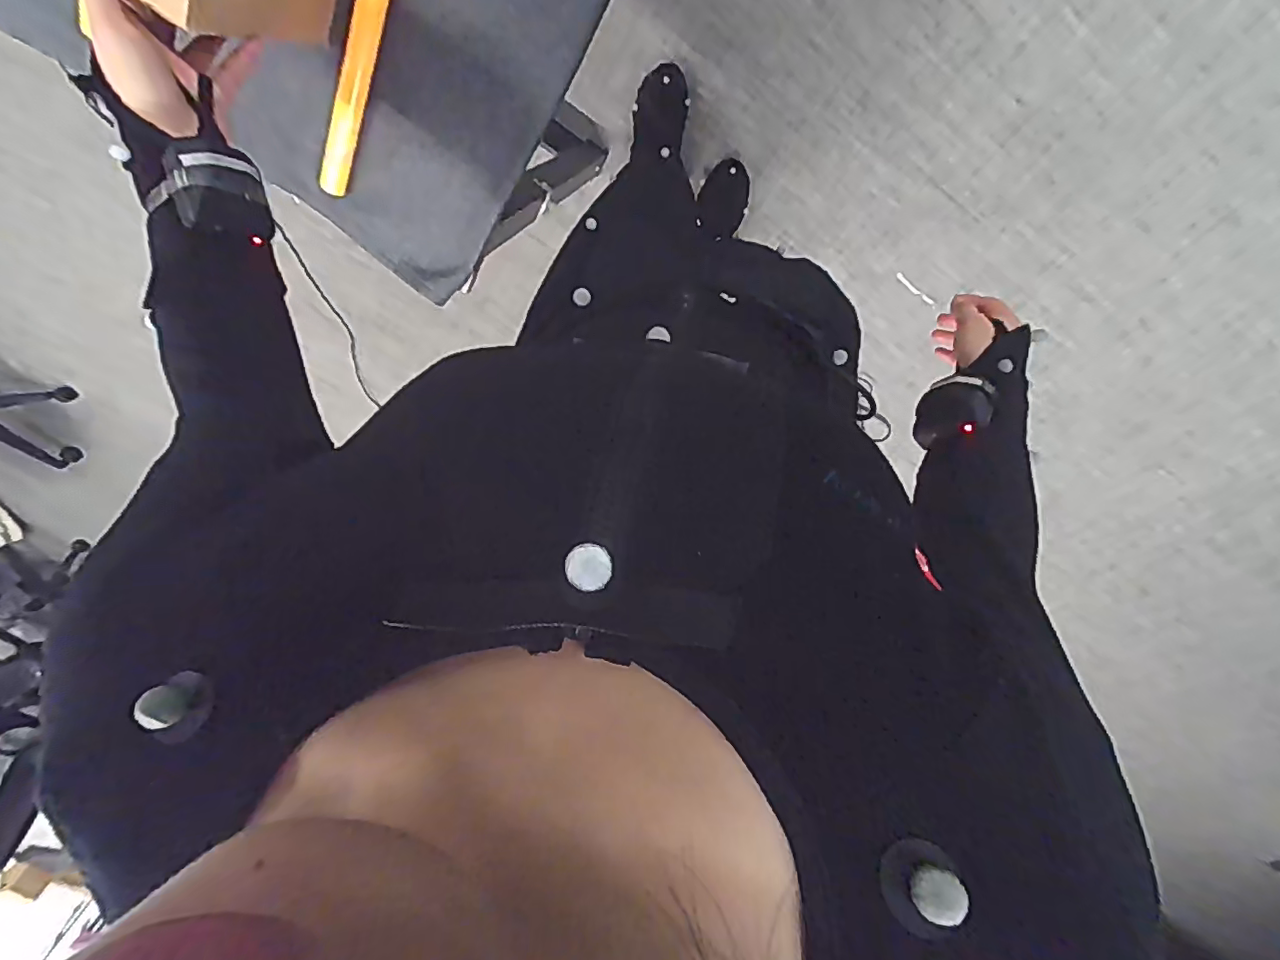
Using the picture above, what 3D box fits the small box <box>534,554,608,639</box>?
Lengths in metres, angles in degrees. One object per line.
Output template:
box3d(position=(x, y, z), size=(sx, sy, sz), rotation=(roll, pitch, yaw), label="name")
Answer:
box3d(position=(-0.213, 0.367, 1.720), size=(0.168, 0.176, 0.179), rotation=(27, 127, -10), label="small box")

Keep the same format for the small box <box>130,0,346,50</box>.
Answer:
box3d(position=(-0.334, -0.466, 0.406), size=(0.168, 0.176, 0.179), rotation=(33, 125, -13), label="small box")
